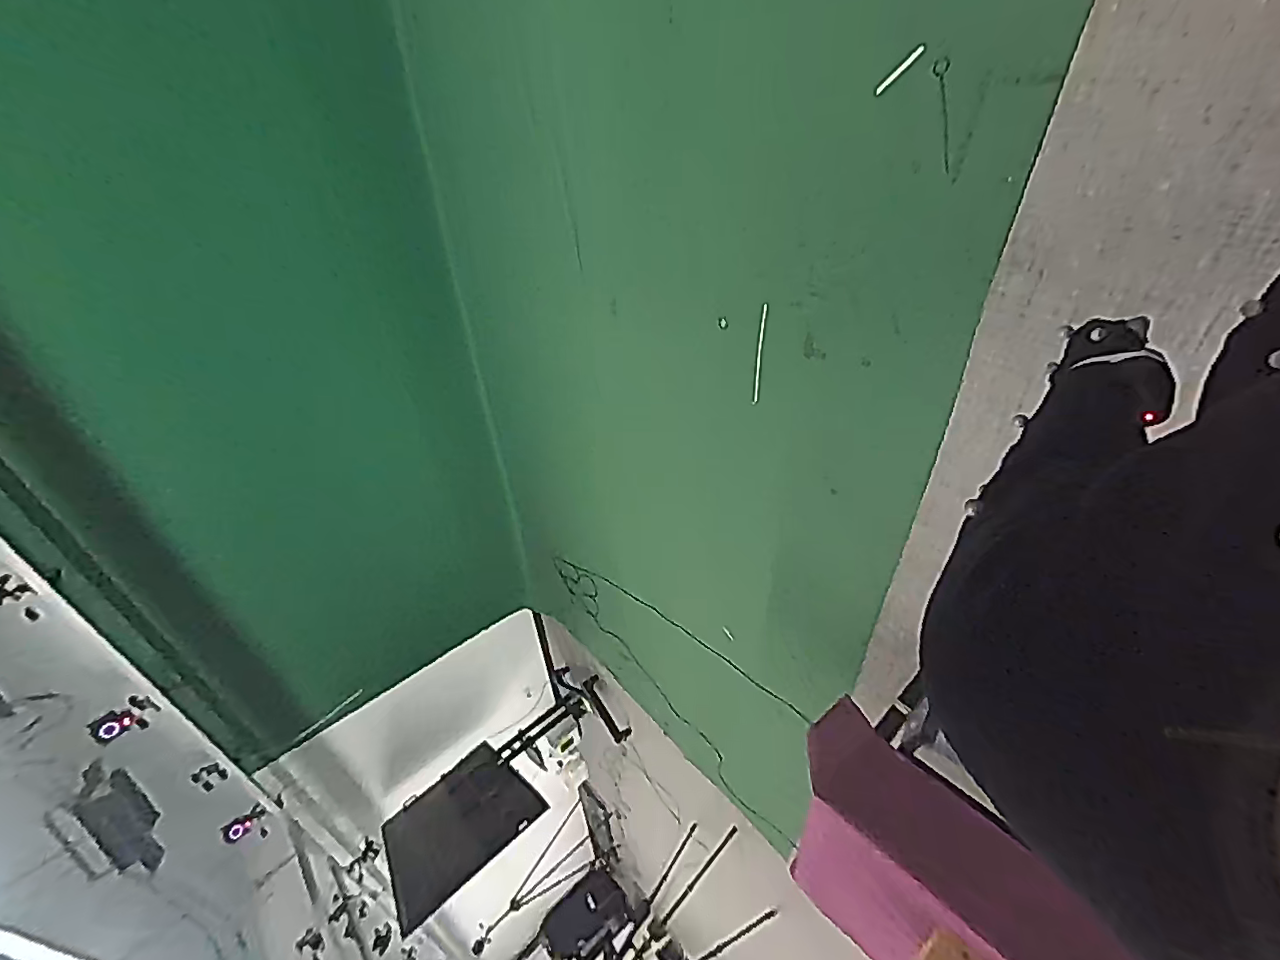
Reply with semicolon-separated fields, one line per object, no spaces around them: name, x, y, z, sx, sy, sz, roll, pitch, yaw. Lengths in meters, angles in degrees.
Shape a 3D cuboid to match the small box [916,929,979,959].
small box;0.710;1.186;1.231;0.168;0.176;0.179;32;139;38
